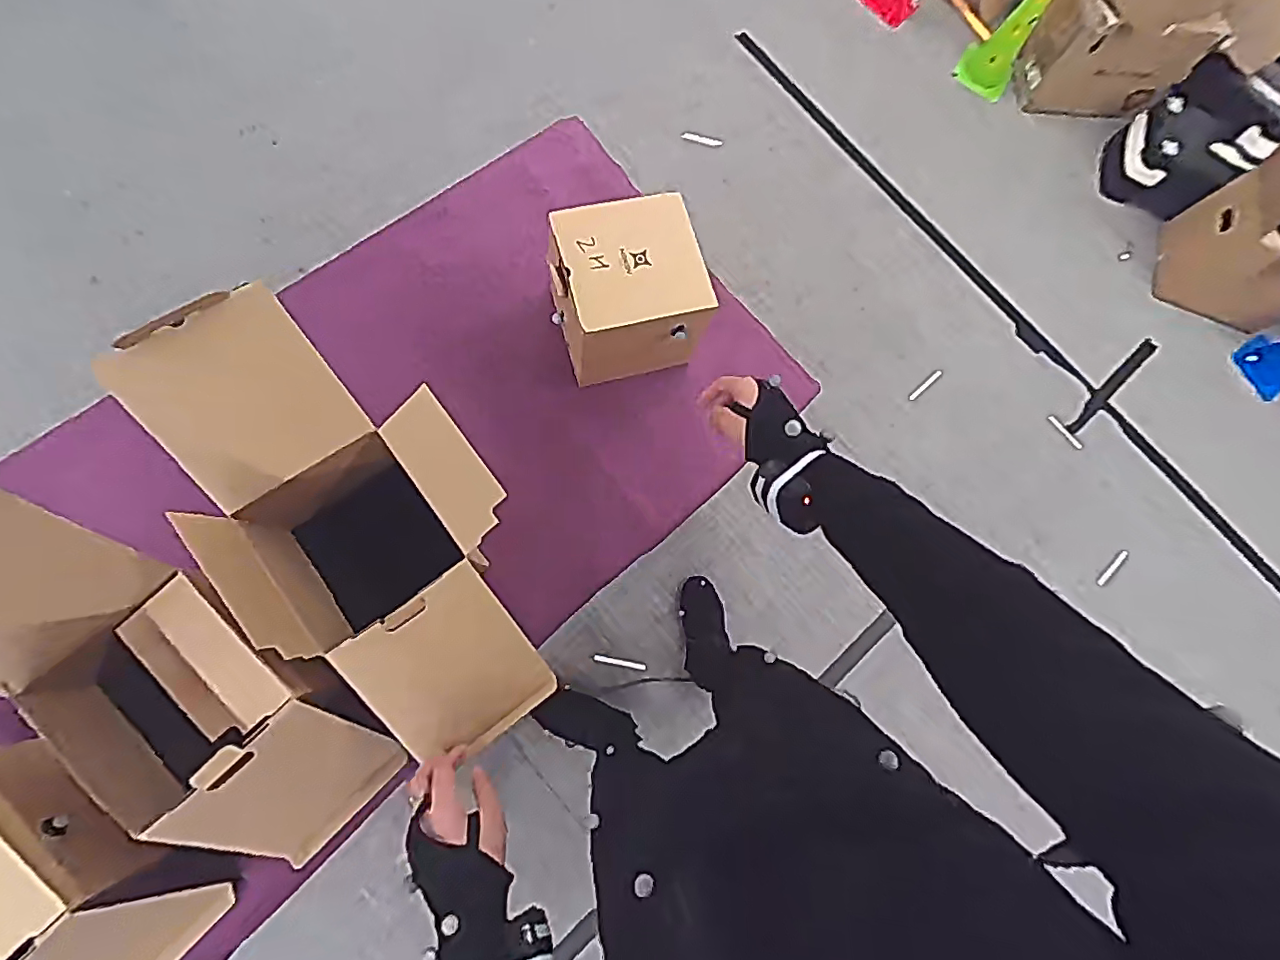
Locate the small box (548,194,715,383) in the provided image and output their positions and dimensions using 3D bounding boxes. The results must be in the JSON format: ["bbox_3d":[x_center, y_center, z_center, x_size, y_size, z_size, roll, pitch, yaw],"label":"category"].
[{"bbox_3d":[-0.021,-0.250,0.736,0.179,0.176,0.168,-14,80,-10],"label":"small box"}]
